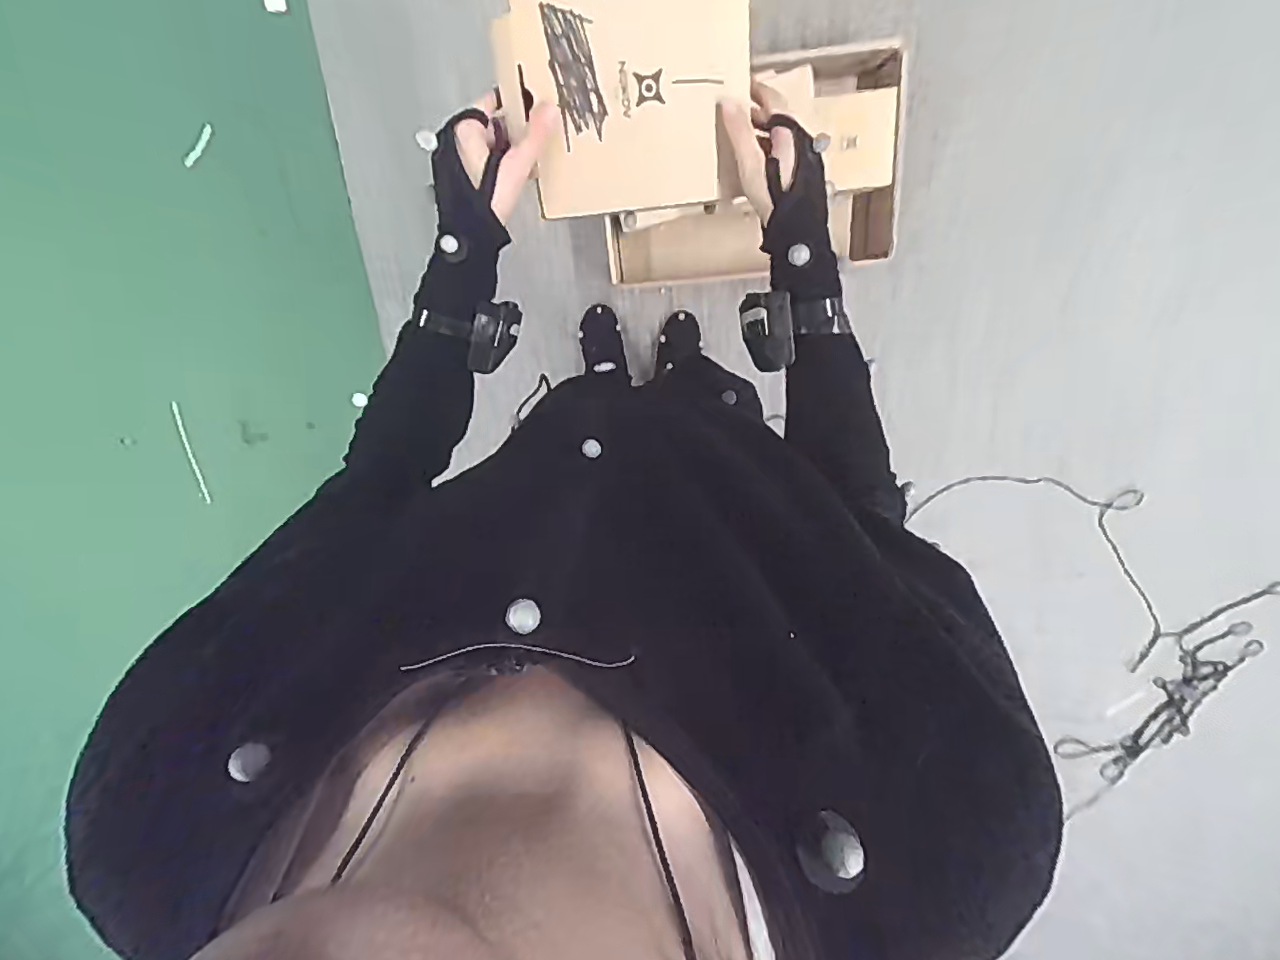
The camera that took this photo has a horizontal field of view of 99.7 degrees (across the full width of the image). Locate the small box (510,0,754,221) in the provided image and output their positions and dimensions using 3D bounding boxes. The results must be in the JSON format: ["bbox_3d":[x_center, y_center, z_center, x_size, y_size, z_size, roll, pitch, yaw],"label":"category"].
[{"bbox_3d":[-0.007,-0.329,0.479,0.179,0.176,0.168,-8,115,-3],"label":"small box"}]

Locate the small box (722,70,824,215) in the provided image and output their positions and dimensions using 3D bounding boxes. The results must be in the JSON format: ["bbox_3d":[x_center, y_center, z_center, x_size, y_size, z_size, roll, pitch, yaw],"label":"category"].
[{"bbox_3d":[0.229,-0.613,1.006,0.168,0.176,0.179,-12,110,8],"label":"small box"}]
